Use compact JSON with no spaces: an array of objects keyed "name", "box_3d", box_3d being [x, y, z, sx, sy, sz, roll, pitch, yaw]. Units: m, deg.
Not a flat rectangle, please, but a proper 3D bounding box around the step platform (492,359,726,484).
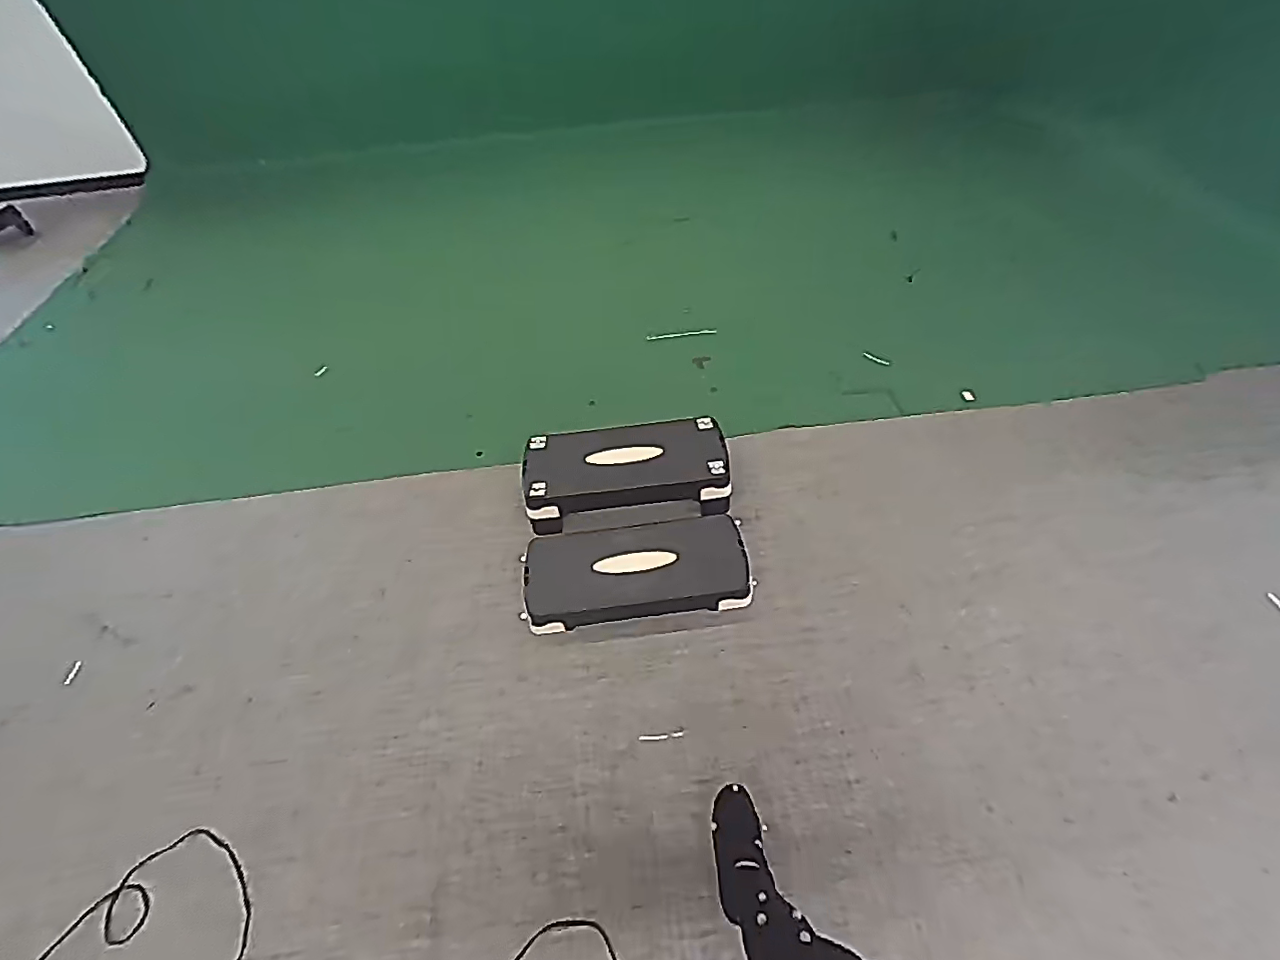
[{"name":"step platform","box_3d":[-0.088,-0.179,1.661,0.684,0.204,0.286,-7,52,-1]}]
